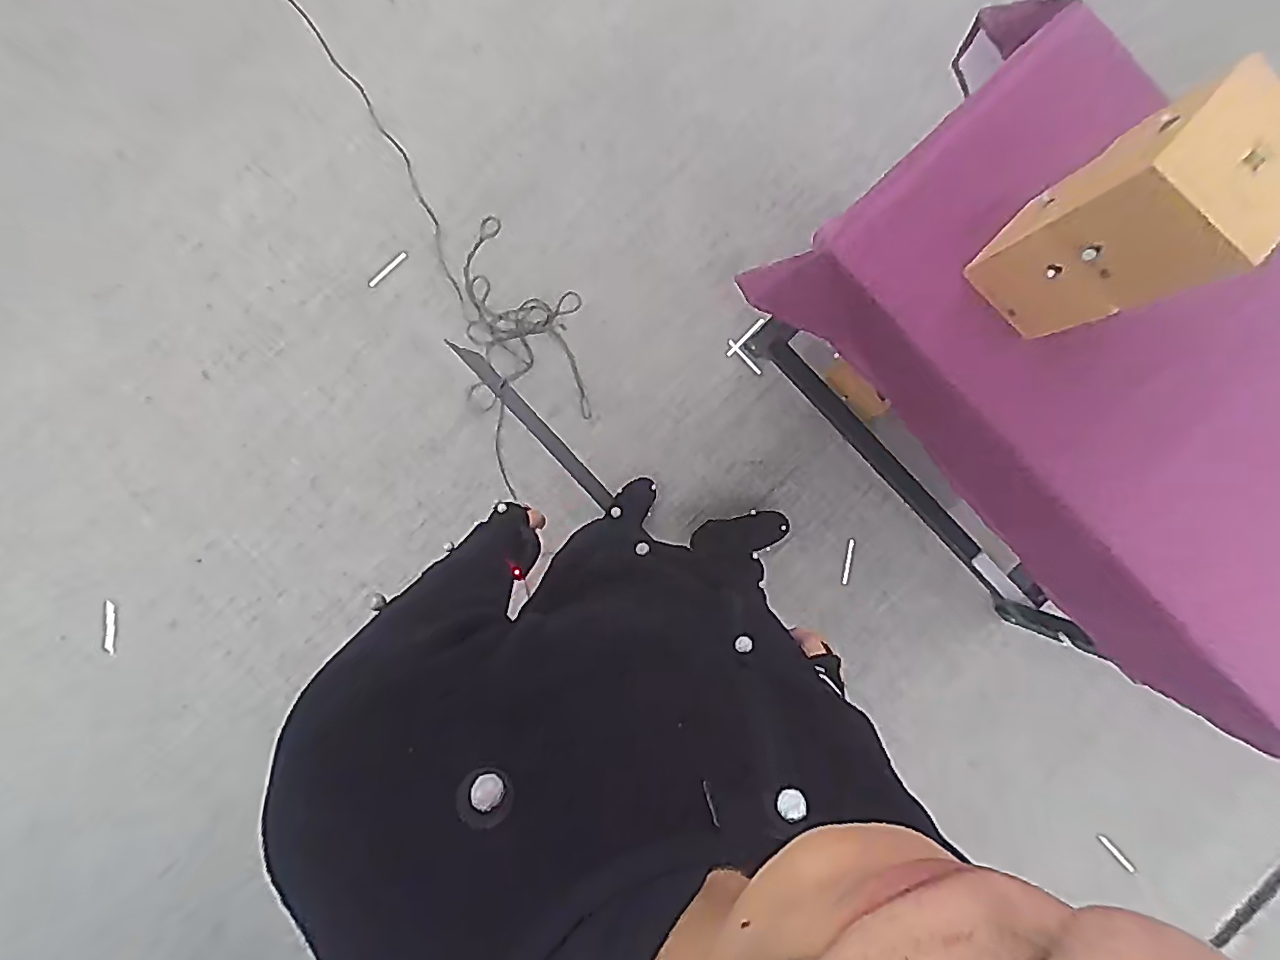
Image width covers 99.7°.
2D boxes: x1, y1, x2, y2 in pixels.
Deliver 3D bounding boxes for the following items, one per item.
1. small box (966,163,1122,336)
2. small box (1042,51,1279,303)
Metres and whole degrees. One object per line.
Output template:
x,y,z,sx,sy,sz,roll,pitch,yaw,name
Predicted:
0.661,-0.355,0.838,0.168,0.176,0.179,44,89,-2,small box
0.666,-0.357,0.674,0.168,0.176,0.179,42,89,-2,small box
